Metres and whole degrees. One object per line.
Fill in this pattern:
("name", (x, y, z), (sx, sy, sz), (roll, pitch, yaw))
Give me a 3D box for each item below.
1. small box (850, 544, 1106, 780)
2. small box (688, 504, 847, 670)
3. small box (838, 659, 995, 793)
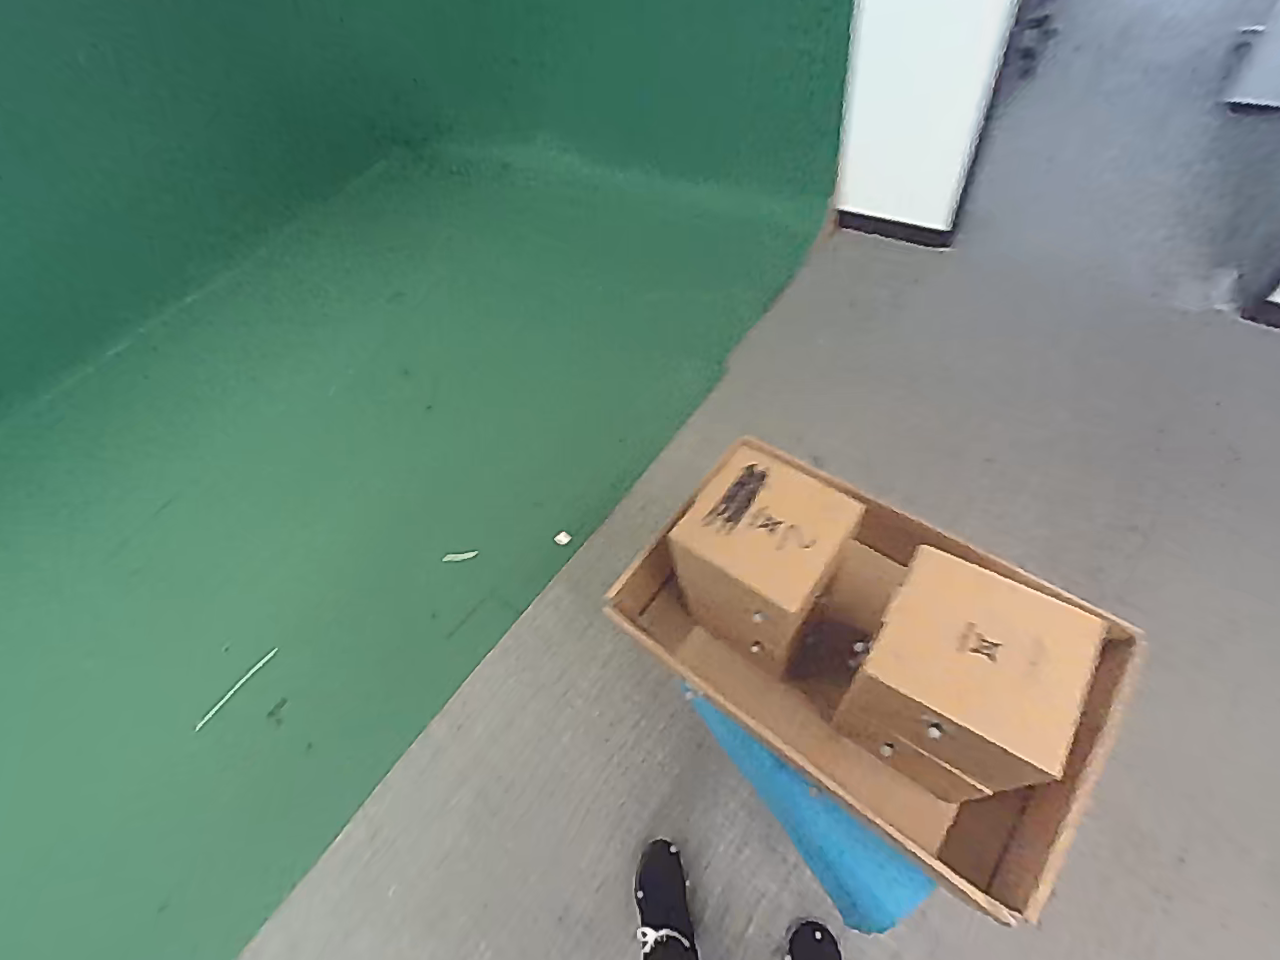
("small box", (0.354, 0.207, 0.601), (0.179, 0.176, 0.168), (27, 68, 27))
("small box", (0.199, 0.175, 0.861), (0.179, 0.176, 0.168), (32, 69, 26))
("small box", (0.388, 0.296, 0.733), (0.179, 0.176, 0.168), (28, 67, 28))
